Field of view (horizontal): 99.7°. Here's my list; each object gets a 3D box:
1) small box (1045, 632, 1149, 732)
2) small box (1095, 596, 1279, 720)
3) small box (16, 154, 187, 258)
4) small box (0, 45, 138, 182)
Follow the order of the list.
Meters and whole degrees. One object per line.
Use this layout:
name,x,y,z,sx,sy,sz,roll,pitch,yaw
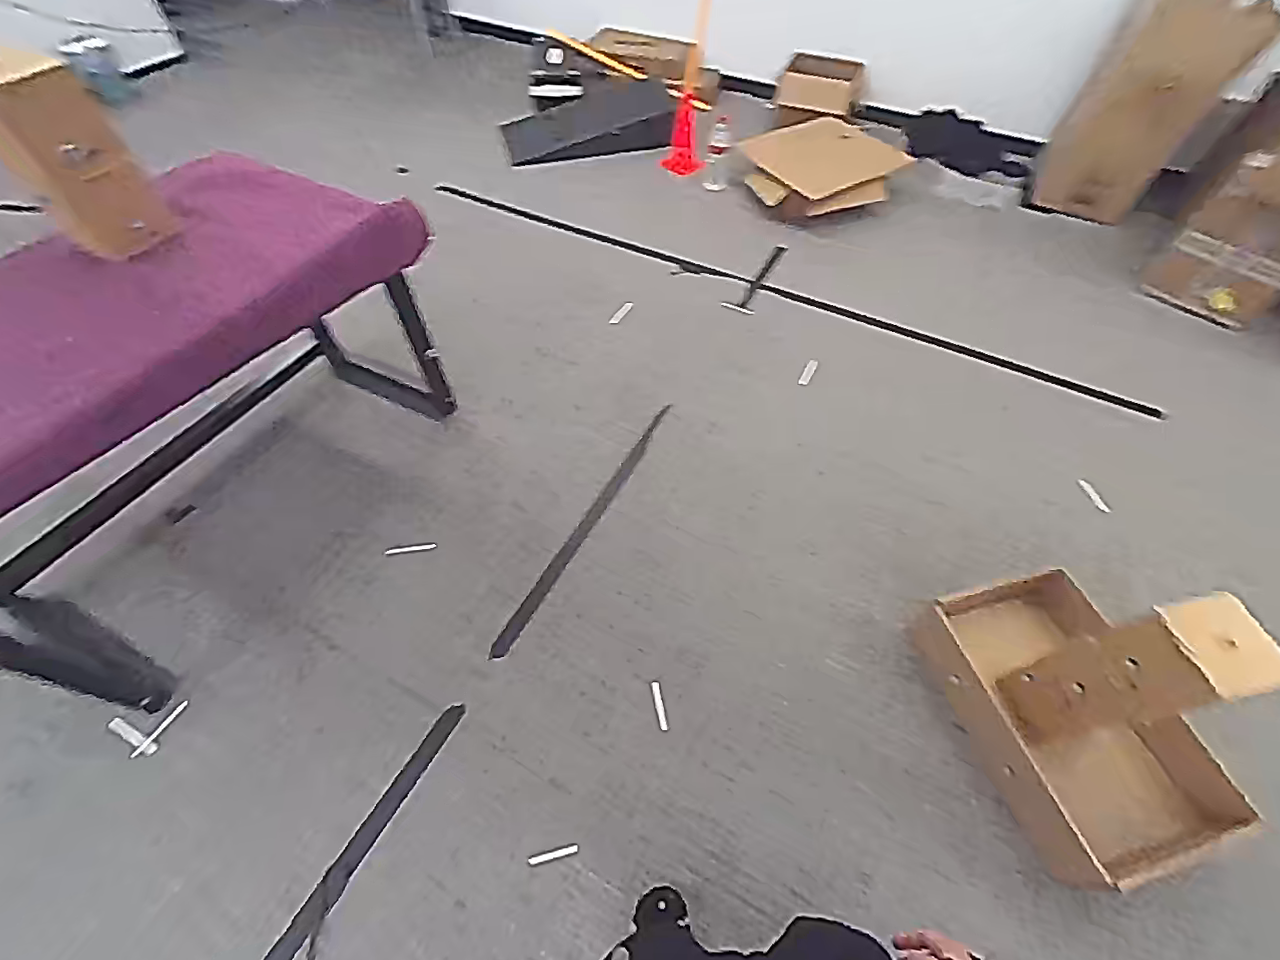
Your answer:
small box,1.022,0.428,1.160,0.179,0.176,0.168,-8,57,-7
small box,1.037,0.340,1.024,0.179,0.176,0.168,-9,57,-8
small box,-1.182,-0.623,1.201,0.179,0.176,0.168,25,59,14
small box,-1.180,-0.722,1.072,0.179,0.176,0.168,23,59,13
